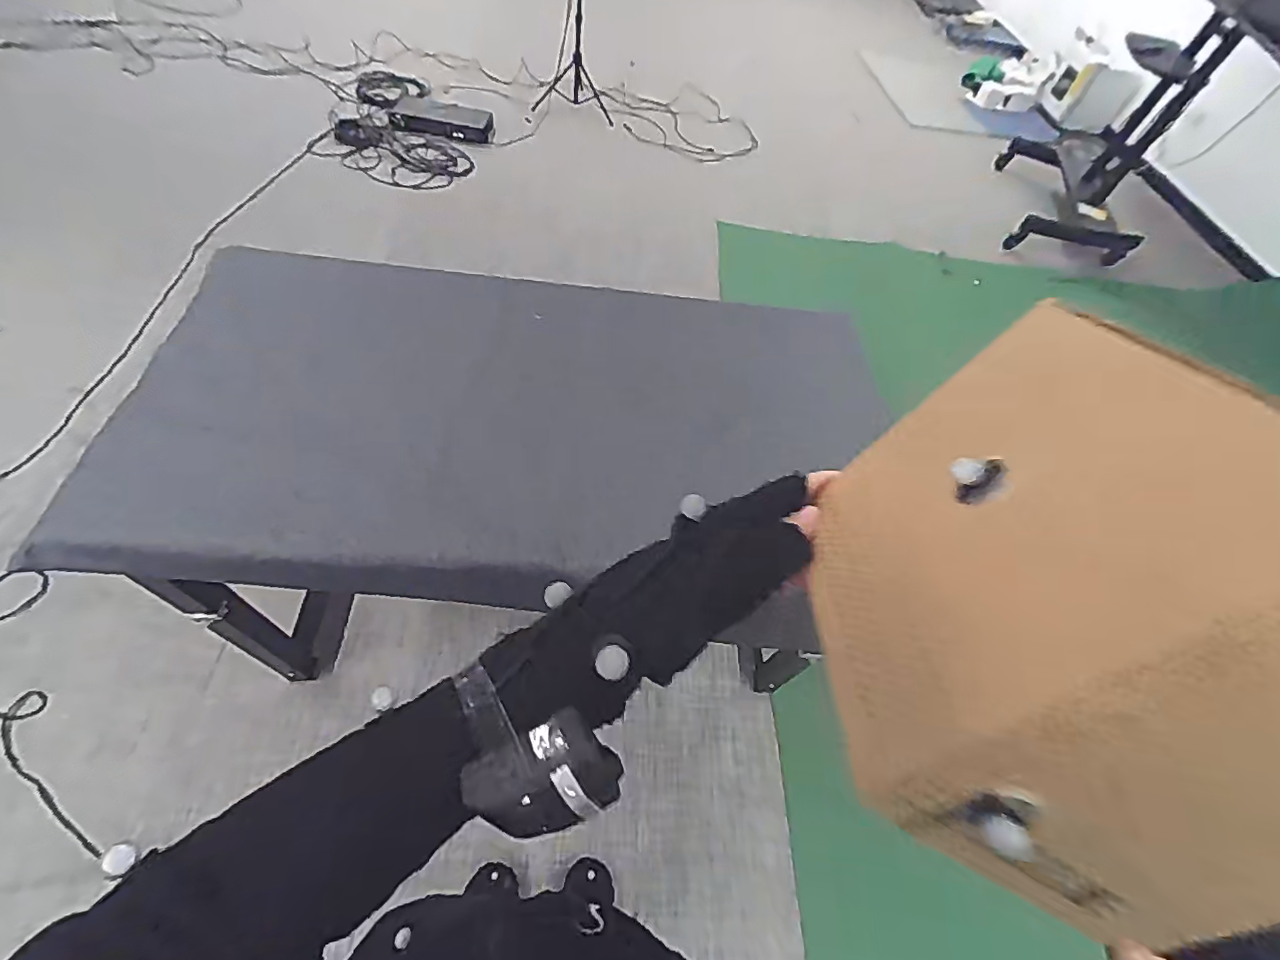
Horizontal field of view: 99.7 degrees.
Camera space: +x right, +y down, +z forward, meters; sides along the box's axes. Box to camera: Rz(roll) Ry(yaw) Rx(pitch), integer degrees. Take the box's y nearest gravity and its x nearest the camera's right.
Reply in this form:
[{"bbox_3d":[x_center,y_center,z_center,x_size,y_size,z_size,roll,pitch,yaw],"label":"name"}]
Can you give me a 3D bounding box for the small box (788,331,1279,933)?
[{"bbox_3d":[0.193,0.067,0.253,0.168,0.176,0.179,36,29,-14],"label":"small box"}]
